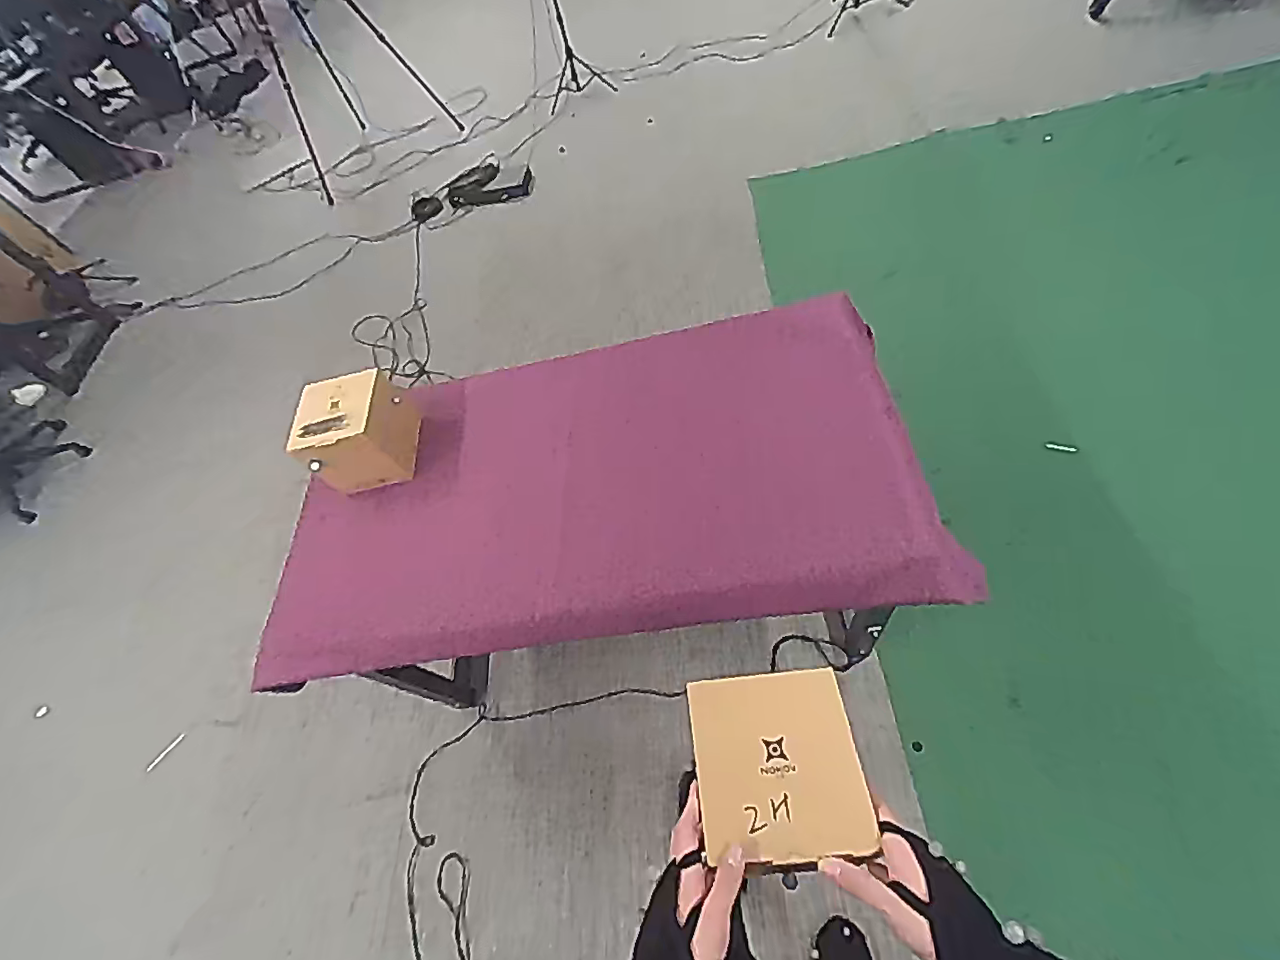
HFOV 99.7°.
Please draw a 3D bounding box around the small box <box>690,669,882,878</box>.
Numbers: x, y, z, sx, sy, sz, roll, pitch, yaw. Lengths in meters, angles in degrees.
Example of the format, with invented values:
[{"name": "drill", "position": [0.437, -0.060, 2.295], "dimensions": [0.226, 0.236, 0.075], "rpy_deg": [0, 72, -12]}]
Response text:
[{"name": "small box", "position": [0.150, 0.337, 0.616], "dimensions": [0.168, 0.176, 0.179], "rpy_deg": [-8, 51, 5]}]
